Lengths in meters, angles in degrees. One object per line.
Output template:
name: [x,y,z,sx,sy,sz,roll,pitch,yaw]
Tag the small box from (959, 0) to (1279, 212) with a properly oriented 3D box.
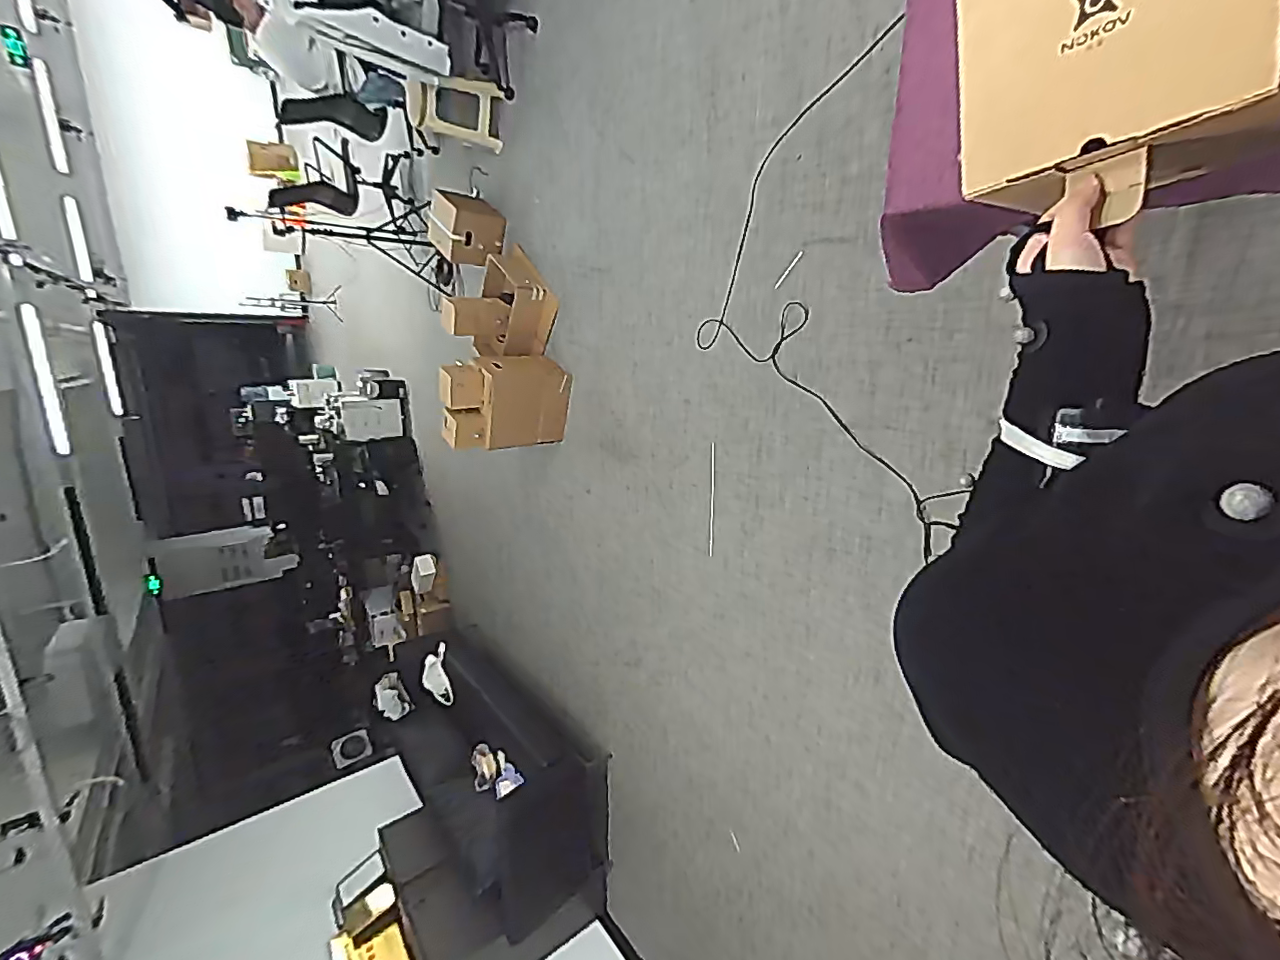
small box: [0.367,-0.326,0.411,0.168,0.176,0.179,6,107,54]
